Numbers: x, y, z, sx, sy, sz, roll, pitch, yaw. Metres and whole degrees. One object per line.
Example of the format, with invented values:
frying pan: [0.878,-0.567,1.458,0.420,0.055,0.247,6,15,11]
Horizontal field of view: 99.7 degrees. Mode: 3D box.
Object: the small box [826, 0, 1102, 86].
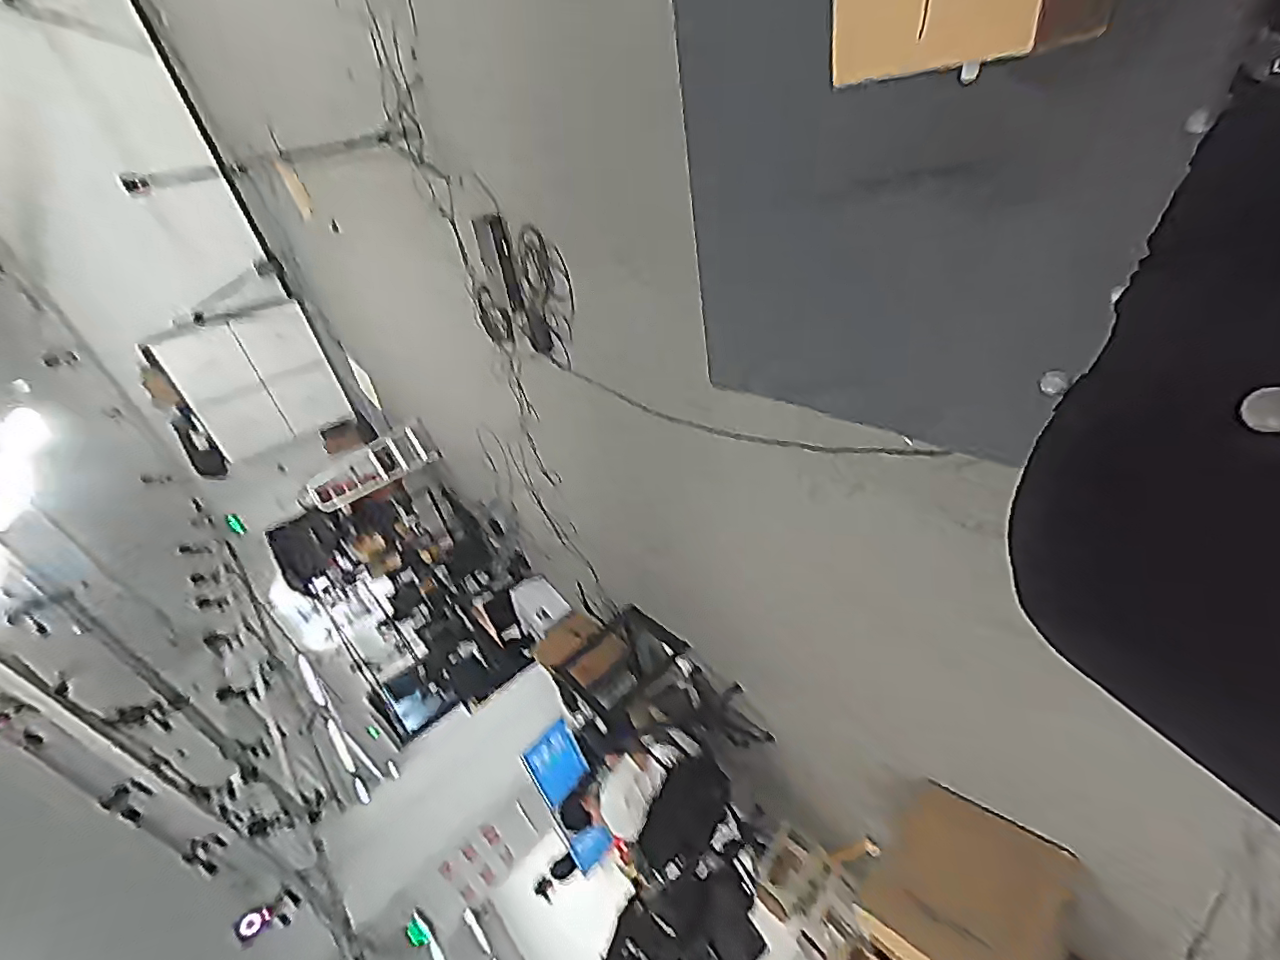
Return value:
small box: [0.274,-0.450,0.443,0.168,0.176,0.179,27,141,42]
